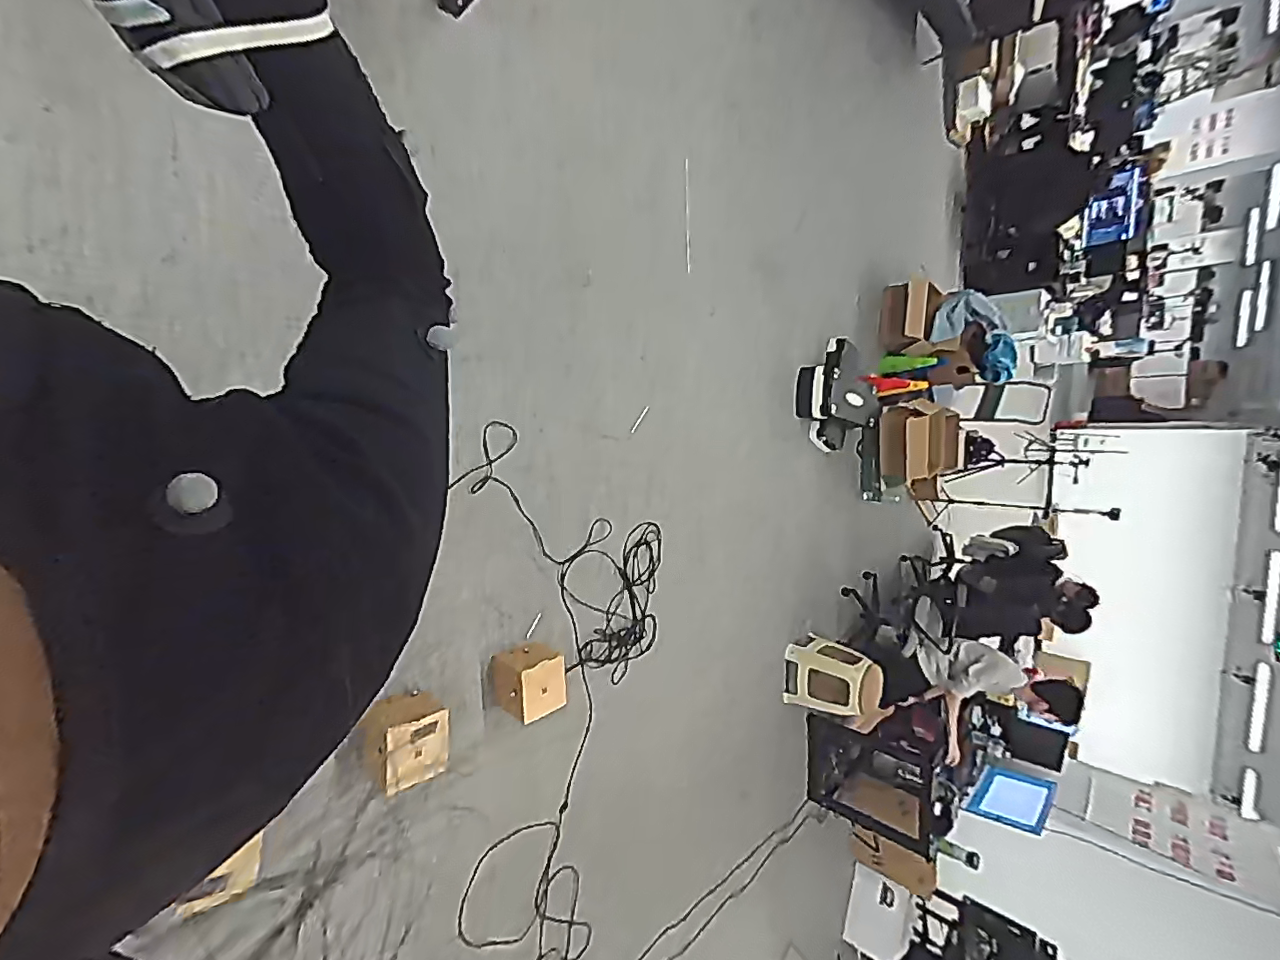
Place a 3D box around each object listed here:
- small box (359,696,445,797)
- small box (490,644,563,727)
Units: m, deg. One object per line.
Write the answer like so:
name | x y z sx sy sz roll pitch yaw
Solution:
small box | -0.646 0.706 1.463 0.168 0.176 0.179 -2 95 -47
small box | -0.369 0.658 1.753 0.168 0.176 0.179 -9 99 -46
